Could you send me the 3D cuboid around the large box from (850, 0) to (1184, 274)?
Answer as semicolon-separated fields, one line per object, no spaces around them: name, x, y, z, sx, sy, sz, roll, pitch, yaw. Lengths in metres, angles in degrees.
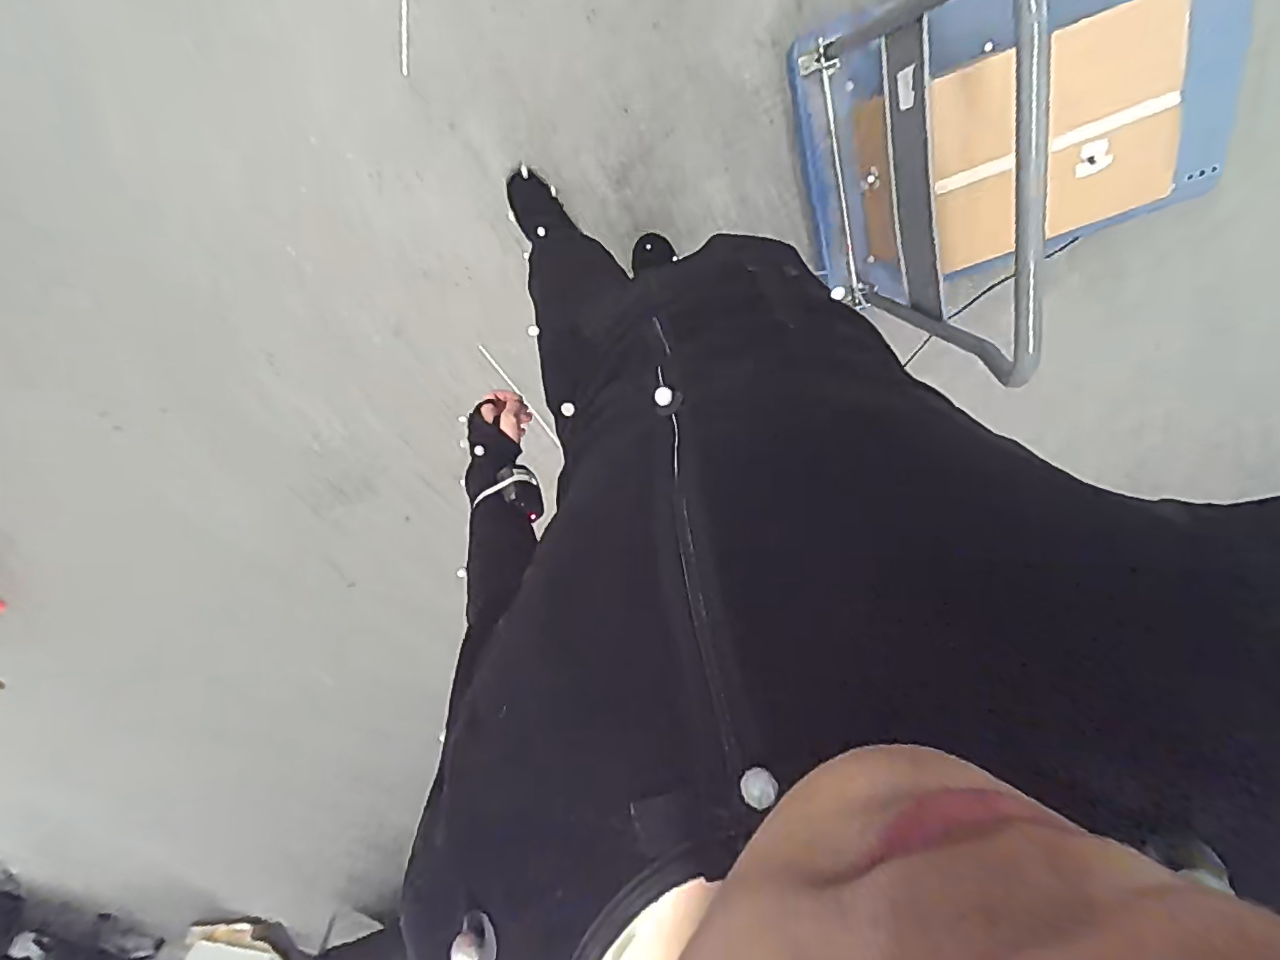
large box;0.676;-0.635;1.033;0.408;0.320;0.320;-18;118;8
